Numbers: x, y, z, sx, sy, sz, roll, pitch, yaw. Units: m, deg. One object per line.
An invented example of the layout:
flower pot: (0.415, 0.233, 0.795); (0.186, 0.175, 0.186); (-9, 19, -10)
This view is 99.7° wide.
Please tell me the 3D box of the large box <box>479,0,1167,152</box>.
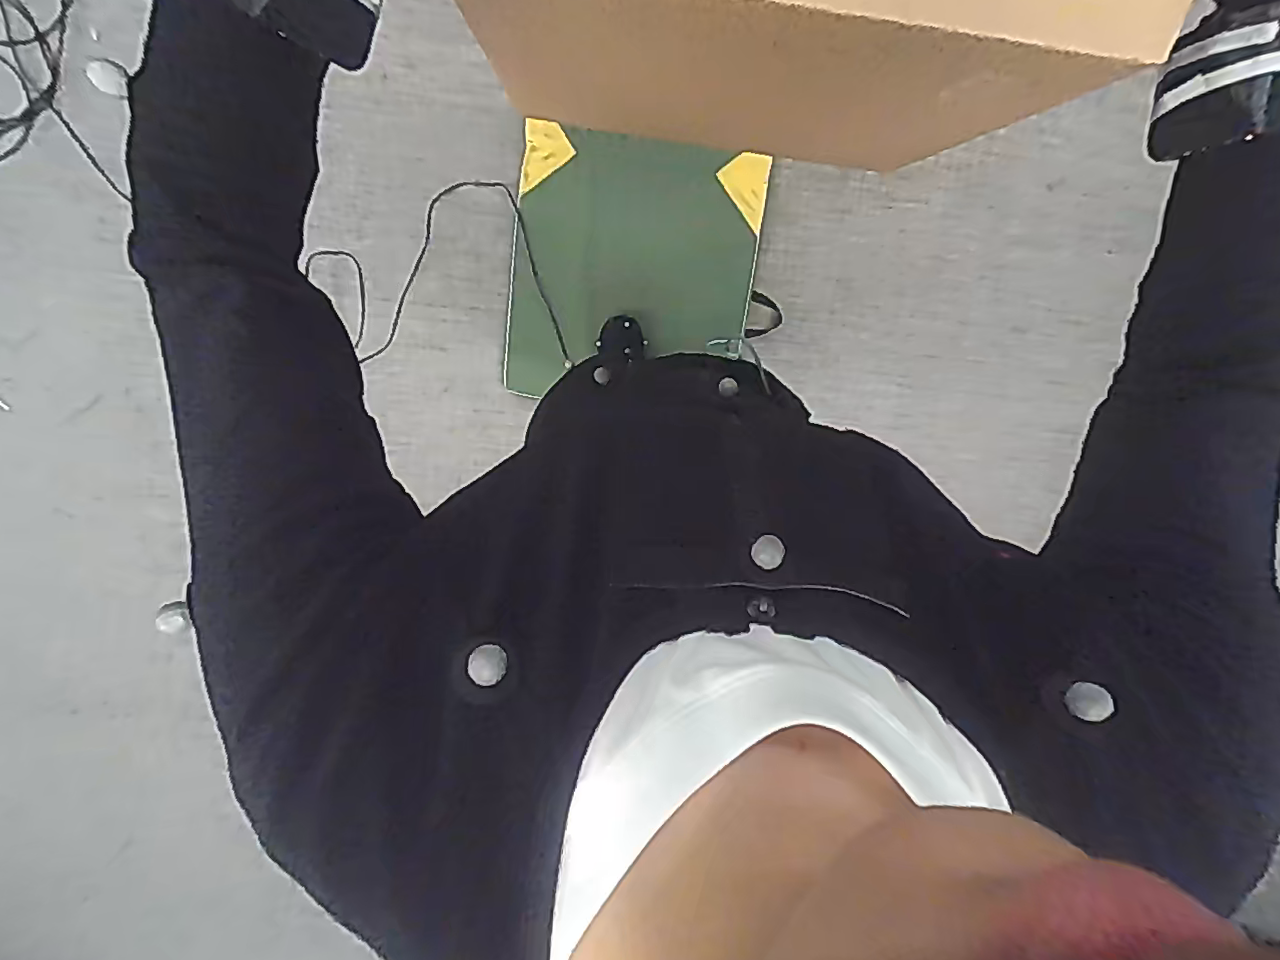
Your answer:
large box: (0.099, -0.457, 0.377); (0.408, 0.320, 0.320); (4, 111, -6)
